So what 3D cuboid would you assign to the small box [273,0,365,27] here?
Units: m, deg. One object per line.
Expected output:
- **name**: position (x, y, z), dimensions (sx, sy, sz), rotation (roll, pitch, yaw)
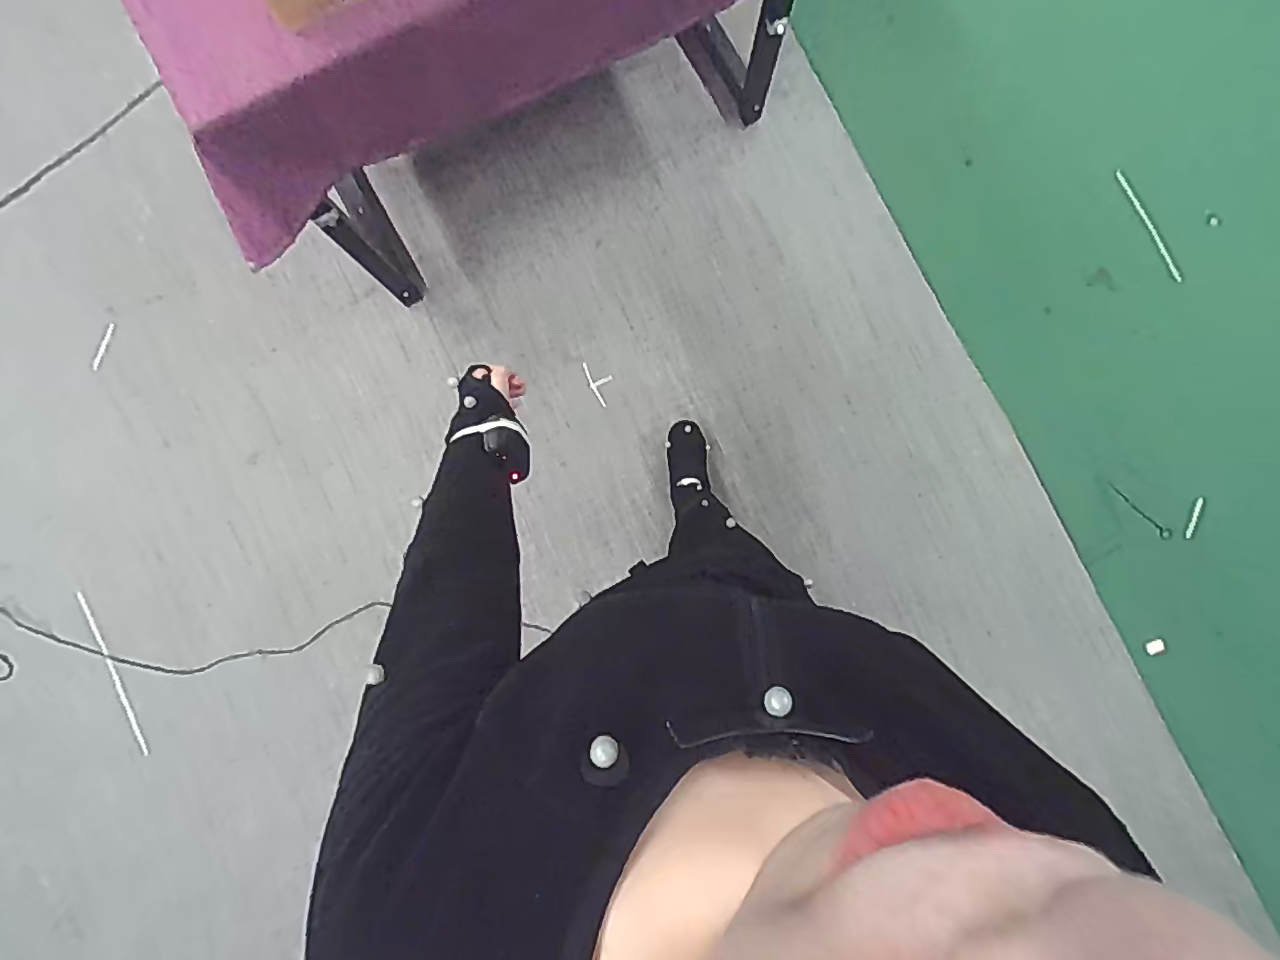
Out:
- **small box**: position (-0.503, -0.810, 0.763), dimensions (0.168, 0.176, 0.179), rotation (-26, 85, -1)
